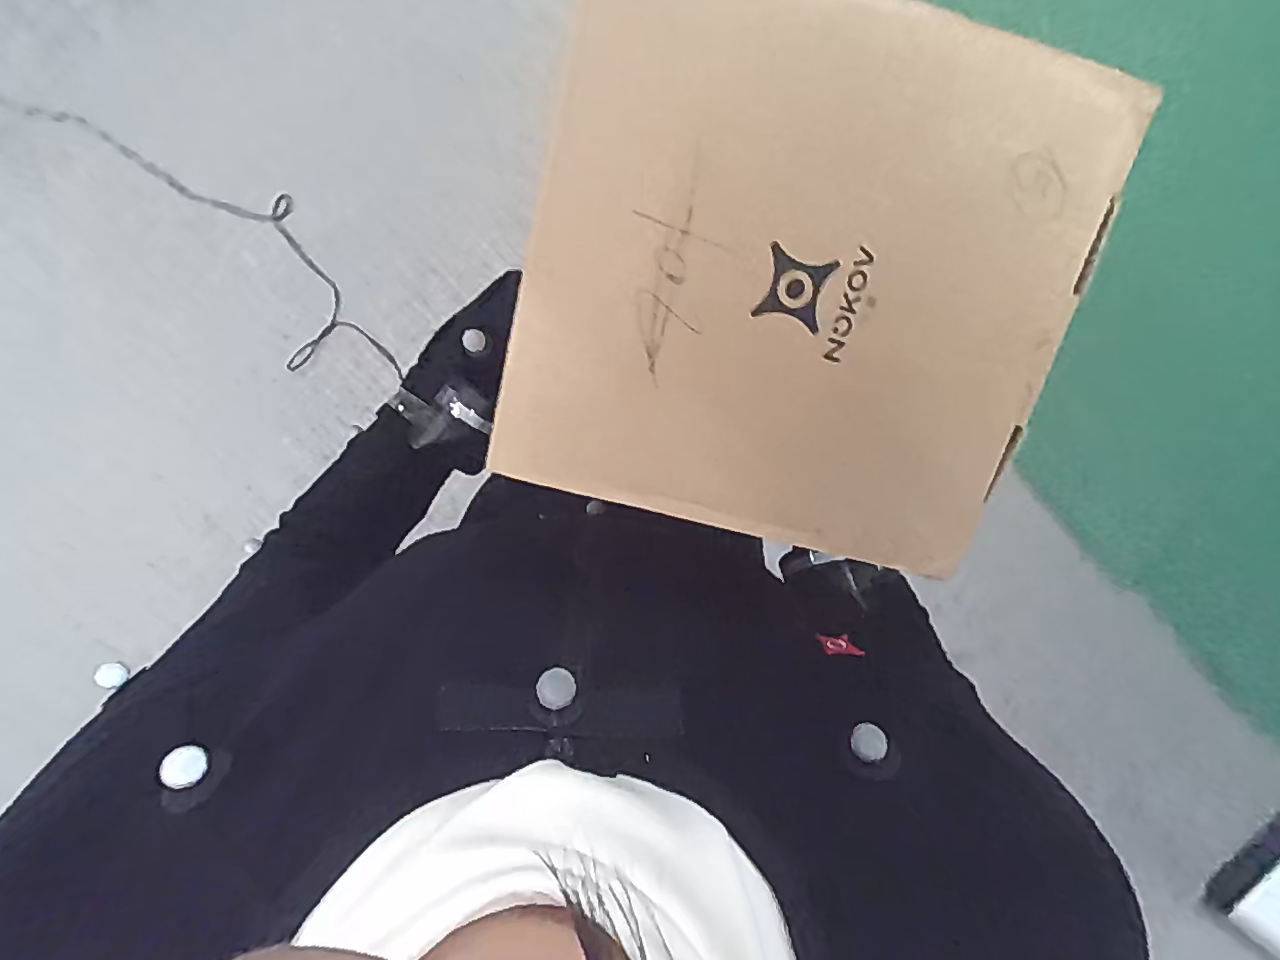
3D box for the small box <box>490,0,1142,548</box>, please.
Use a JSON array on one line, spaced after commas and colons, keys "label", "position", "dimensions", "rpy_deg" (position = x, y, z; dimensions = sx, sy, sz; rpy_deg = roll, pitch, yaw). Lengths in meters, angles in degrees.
[{"label": "small box", "position": [0.048, -0.086, 0.250], "dimensions": [0.179, 0.176, 0.168], "rpy_deg": [12, 102, -4]}]
